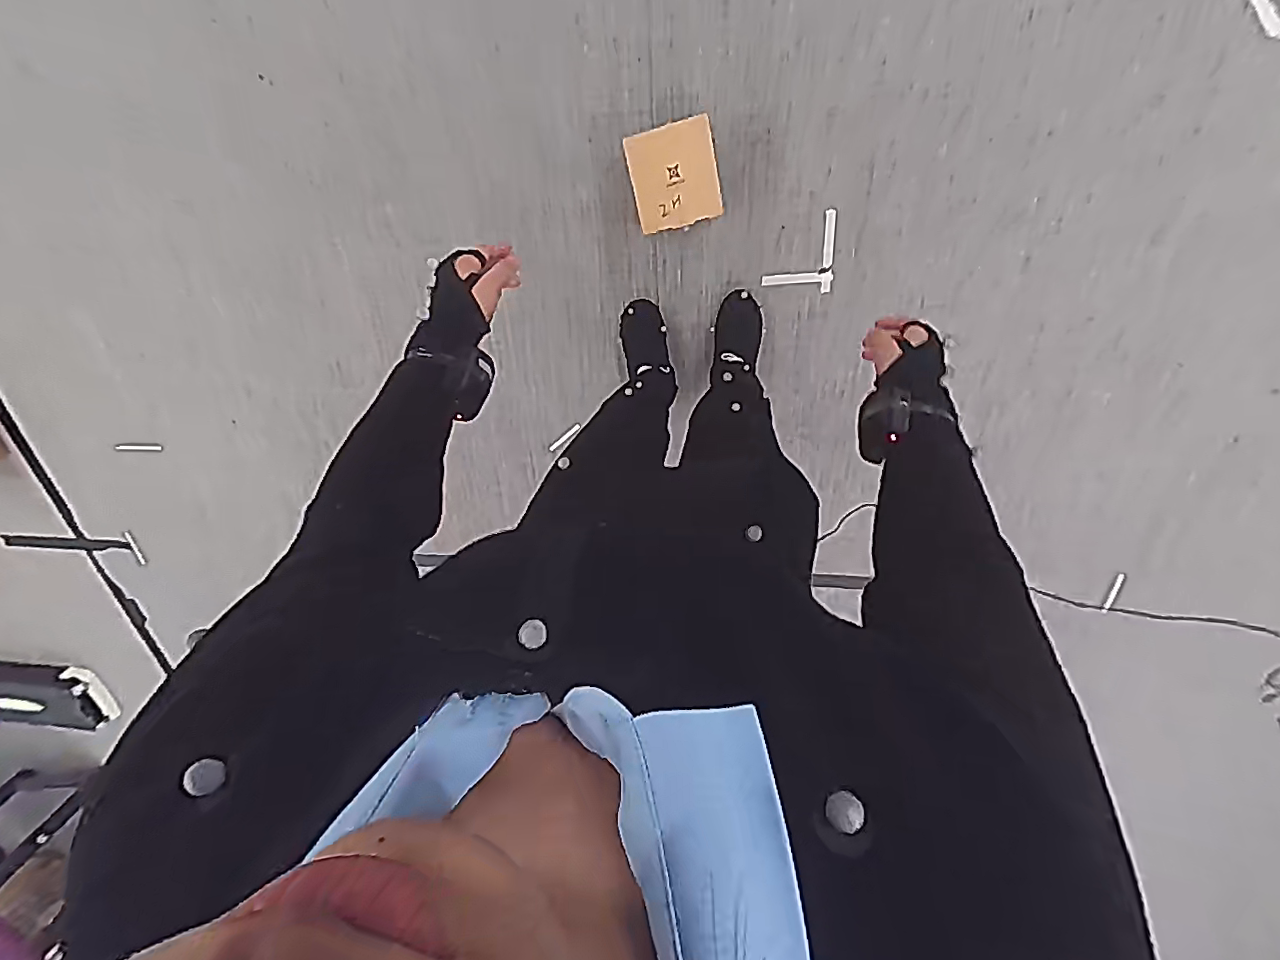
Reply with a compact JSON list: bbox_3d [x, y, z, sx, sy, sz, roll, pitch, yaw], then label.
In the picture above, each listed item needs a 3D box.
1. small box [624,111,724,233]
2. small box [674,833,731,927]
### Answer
[{"bbox_3d":[0.074,-0.616,1.098,0.168,0.176,0.179,-9,117,12],"label":"small box"},{"bbox_3d":[0.193,1.238,1.678,0.168,0.176,0.179,1,117,6],"label":"small box"}]
